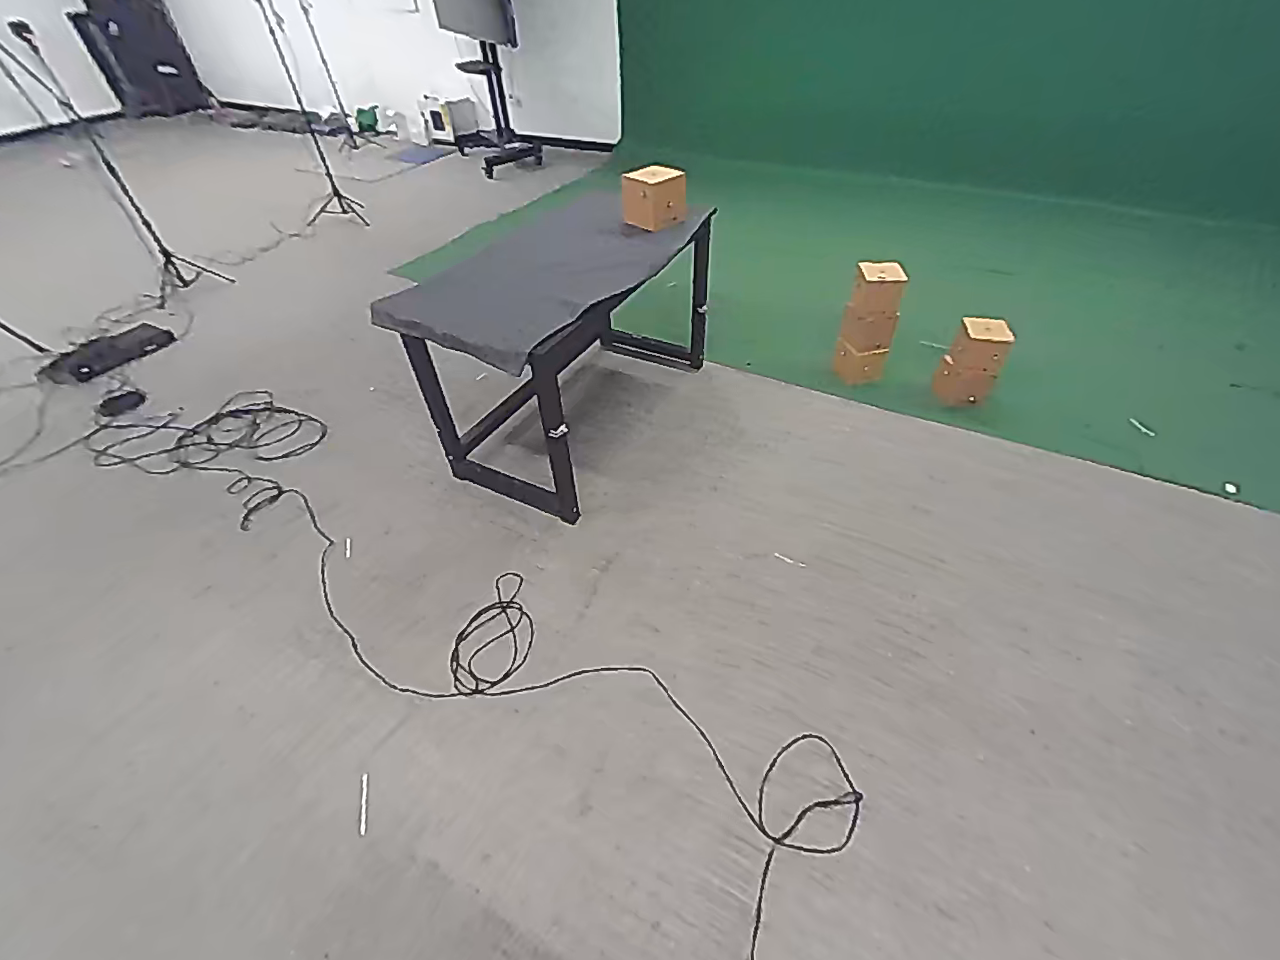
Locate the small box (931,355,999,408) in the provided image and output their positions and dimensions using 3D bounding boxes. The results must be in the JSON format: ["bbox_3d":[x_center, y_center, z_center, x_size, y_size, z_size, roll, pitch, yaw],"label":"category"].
[{"bbox_3d":[1.424,-0.442,2.387,0.168,0.176,0.179,-8,46,-5],"label":"small box"}]

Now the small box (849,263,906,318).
[{"bbox_3d":[1.012,-0.814,2.320,0.168,0.176,0.179,1,45,4],"label":"small box"}]

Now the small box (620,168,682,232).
[{"bbox_3d":[0.045,-1.049,2.029,0.168,0.176,0.179,-33,50,-27],"label":"small box"}]

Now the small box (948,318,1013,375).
[{"bbox_3d":[1.426,-0.561,2.276,0.168,0.176,0.179,7,45,9],"label":"small box"}]

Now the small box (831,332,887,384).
[{"bbox_3d":[1.023,-0.566,2.536,0.168,0.176,0.179,-13,45,-9],"label":"small box"}]
